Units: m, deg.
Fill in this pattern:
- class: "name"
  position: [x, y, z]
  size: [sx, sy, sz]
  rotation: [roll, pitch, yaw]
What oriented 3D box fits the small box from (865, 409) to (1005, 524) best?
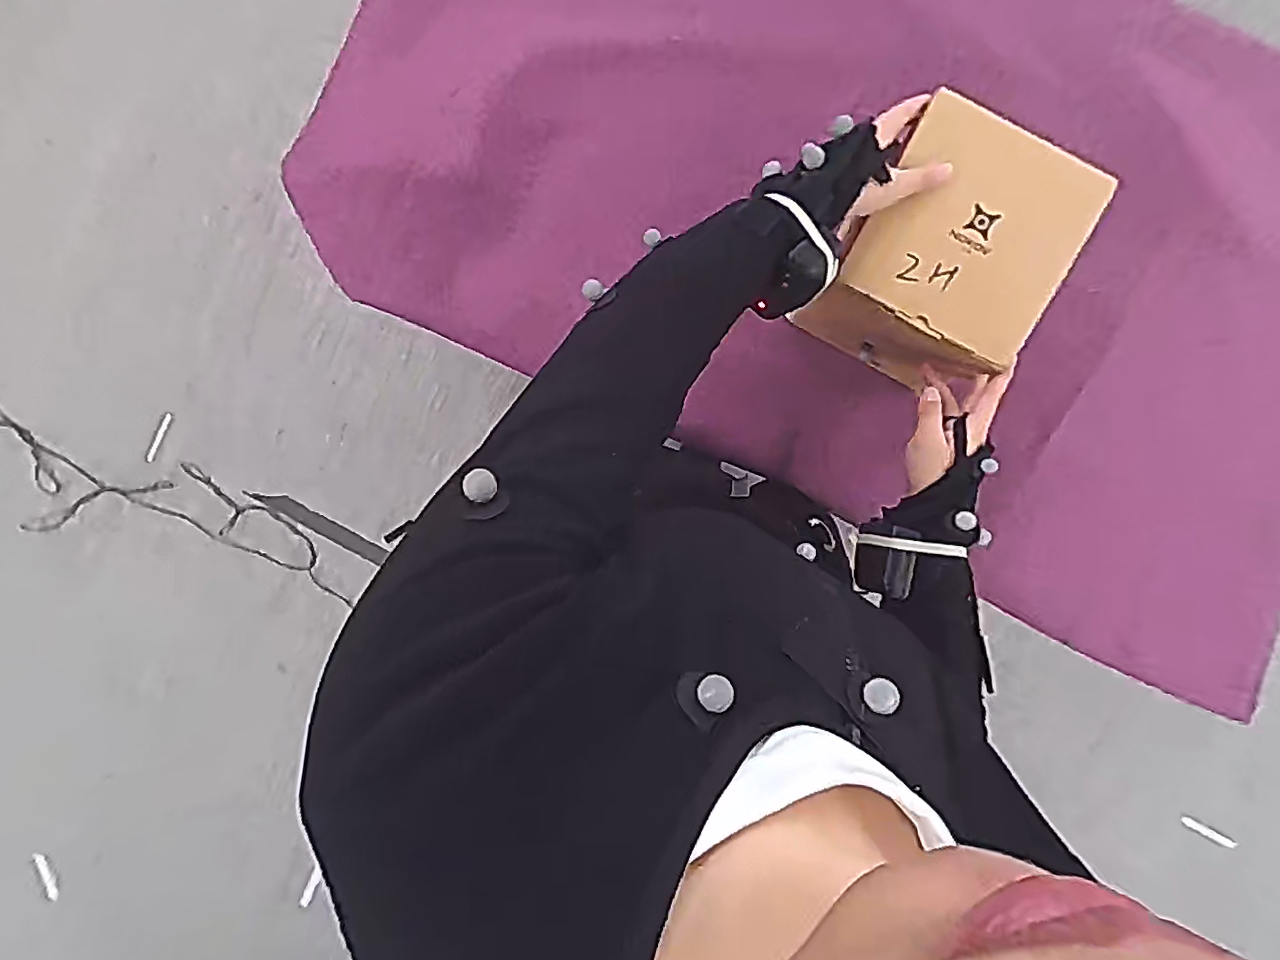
- class: "small box"
  position: [0.599, -0.030, 1.128]
  size: [0.168, 0.176, 0.179]
  rotation: [29, 95, 1]
